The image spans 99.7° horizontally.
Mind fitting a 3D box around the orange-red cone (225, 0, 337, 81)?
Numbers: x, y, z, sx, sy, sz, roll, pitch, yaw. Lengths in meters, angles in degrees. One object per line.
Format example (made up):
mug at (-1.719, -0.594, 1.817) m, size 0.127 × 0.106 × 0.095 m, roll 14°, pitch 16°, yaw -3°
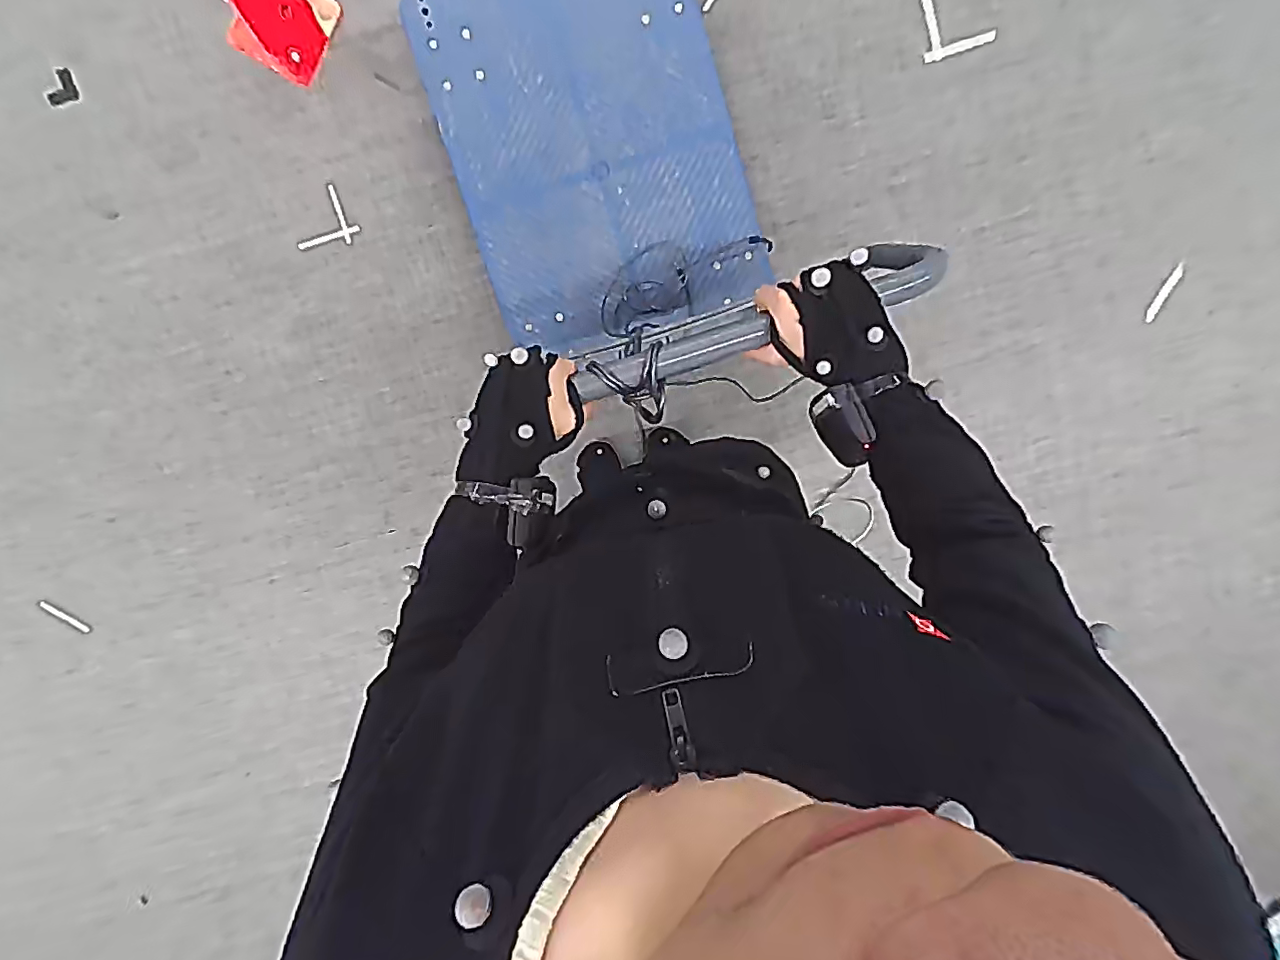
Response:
orange-red cone at (-0.797, -1.009, 1.041) m, size 0.198 × 0.360 × 0.199 m, roll 29°, pitch 94°, yaw -5°
